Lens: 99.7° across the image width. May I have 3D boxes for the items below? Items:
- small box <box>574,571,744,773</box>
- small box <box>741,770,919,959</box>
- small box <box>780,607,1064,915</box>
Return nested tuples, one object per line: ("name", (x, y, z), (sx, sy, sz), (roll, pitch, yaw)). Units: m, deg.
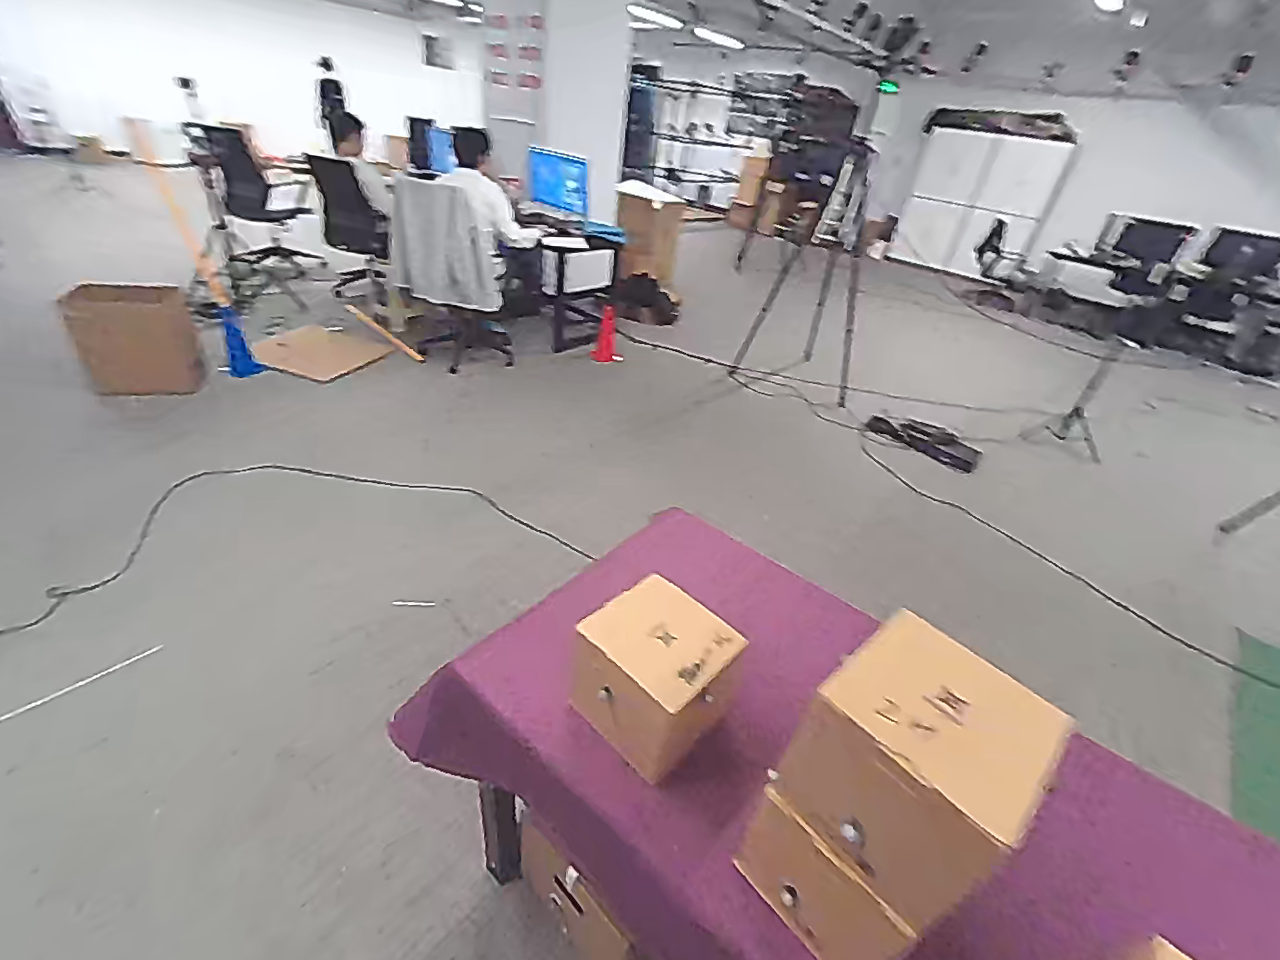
("small box", (0.018, 0.270, 0.772), (0.179, 0.176, 0.168), (31, 41, 31))
("small box", (0.239, 0.404, 0.624), (0.179, 0.176, 0.168), (-24, 45, -37))
("small box", (0.264, 0.267, 0.535), (0.179, 0.176, 0.168), (-22, 44, -36))
